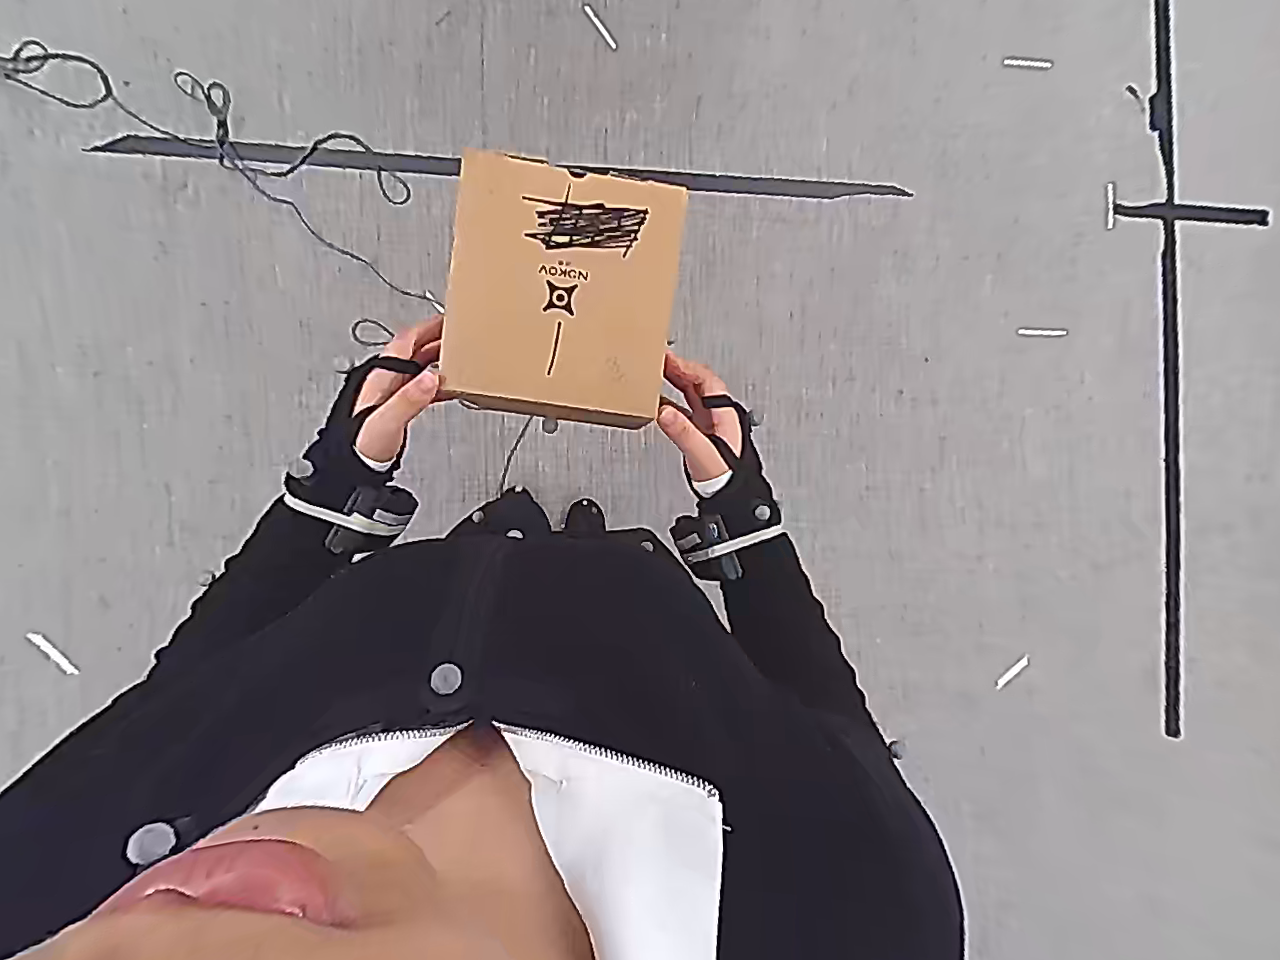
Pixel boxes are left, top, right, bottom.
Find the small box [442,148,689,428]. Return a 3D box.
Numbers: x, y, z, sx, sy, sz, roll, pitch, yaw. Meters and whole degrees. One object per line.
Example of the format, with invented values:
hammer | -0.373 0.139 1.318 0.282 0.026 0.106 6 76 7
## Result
small box | -0.061 -0.148 0.479 0.168 0.176 0.179 7 91 -5
